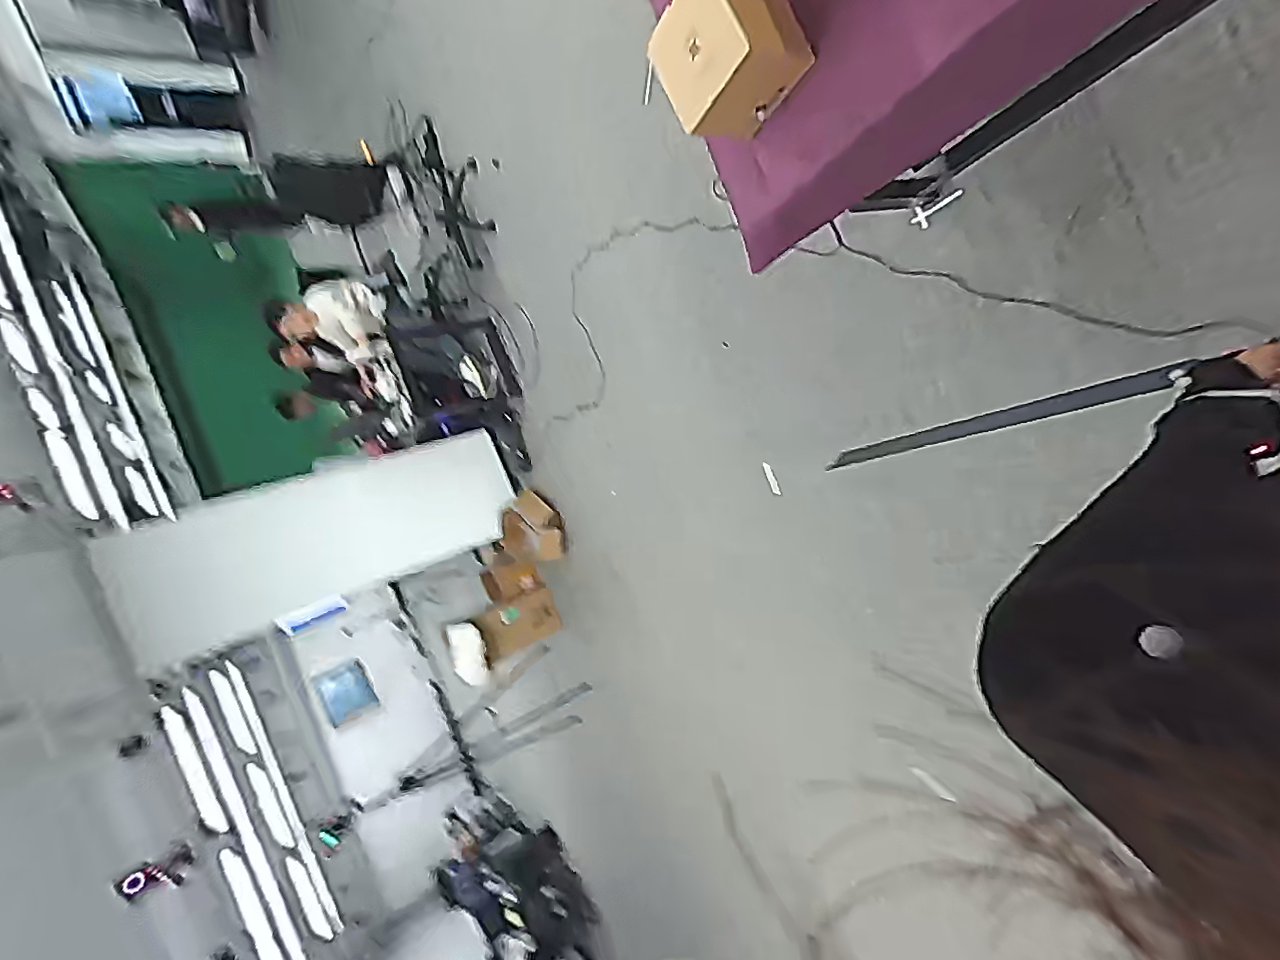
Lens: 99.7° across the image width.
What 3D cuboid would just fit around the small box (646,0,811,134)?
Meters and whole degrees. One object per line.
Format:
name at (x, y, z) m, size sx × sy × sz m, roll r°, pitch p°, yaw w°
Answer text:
small box at (0.146, -0.709, 0.898) m, size 0.168 × 0.176 × 0.179 m, roll -29°, pitch 85°, yaw 57°
